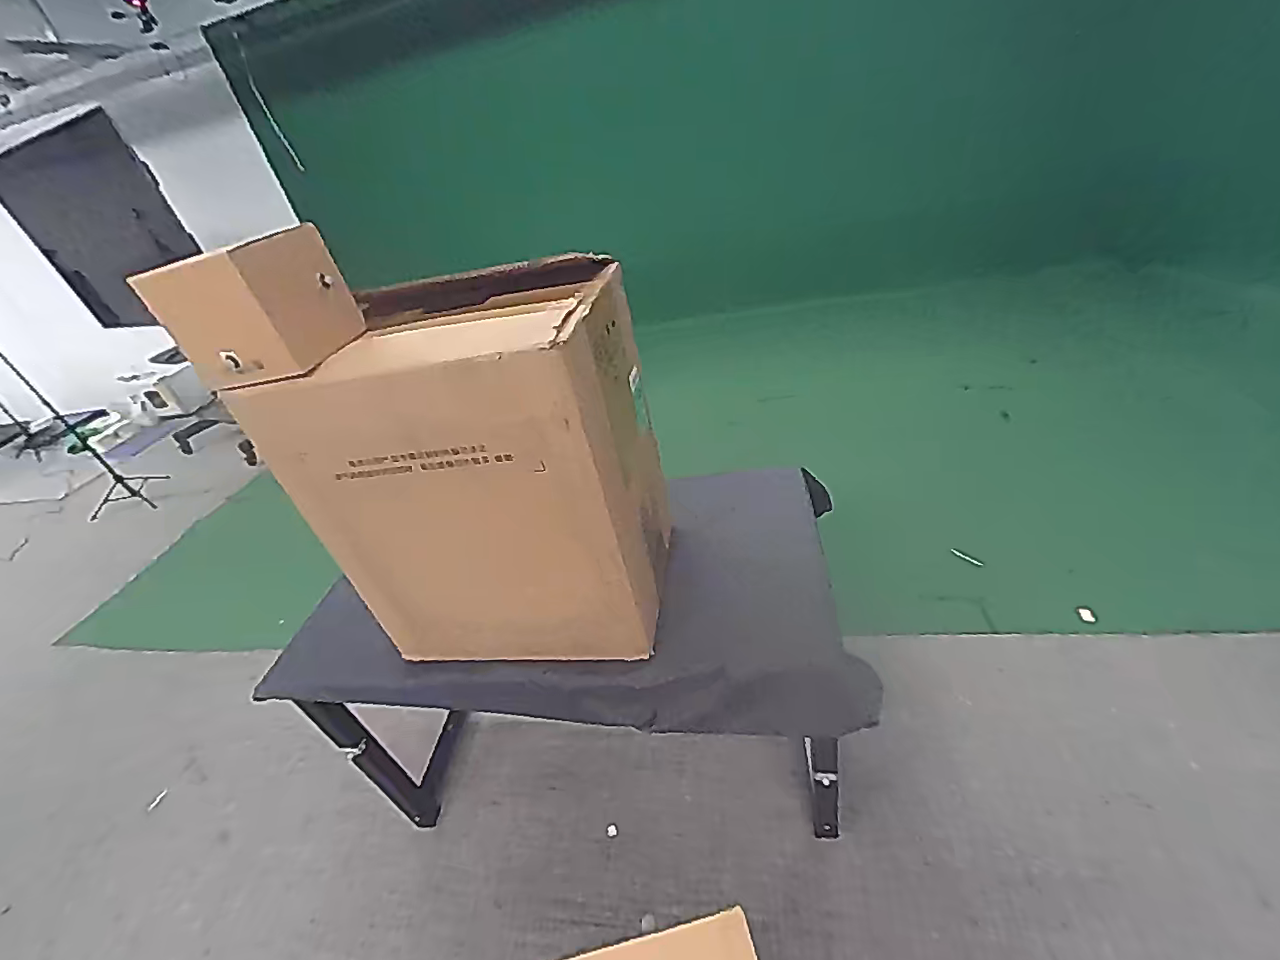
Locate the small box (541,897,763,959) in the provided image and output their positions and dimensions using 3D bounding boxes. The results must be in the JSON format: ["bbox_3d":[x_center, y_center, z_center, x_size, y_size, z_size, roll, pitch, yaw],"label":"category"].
[{"bbox_3d":[0.026,0.458,0.419,0.168,0.176,0.179,-11,48,-8],"label":"small box"}]

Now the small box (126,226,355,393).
[{"bbox_3d":[-0.554,-0.246,0.785,0.168,0.176,0.179,-8,36,13],"label":"small box"}]
